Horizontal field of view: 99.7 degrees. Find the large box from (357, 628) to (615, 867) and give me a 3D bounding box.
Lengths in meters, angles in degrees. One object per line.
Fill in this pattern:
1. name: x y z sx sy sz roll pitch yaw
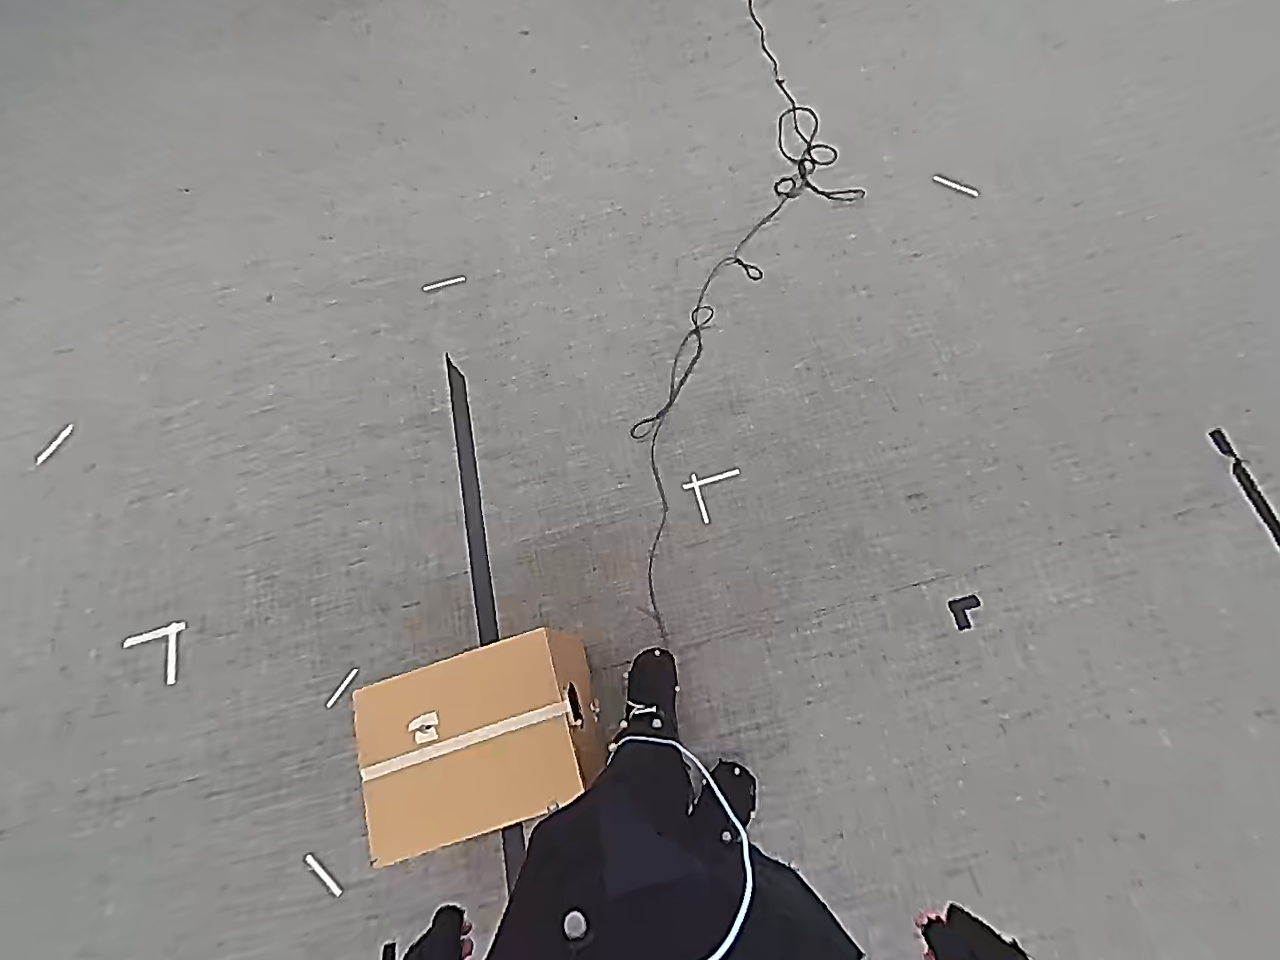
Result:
1. large box: -0.307 0.535 1.147 0.408 0.320 0.320 -19 68 2
